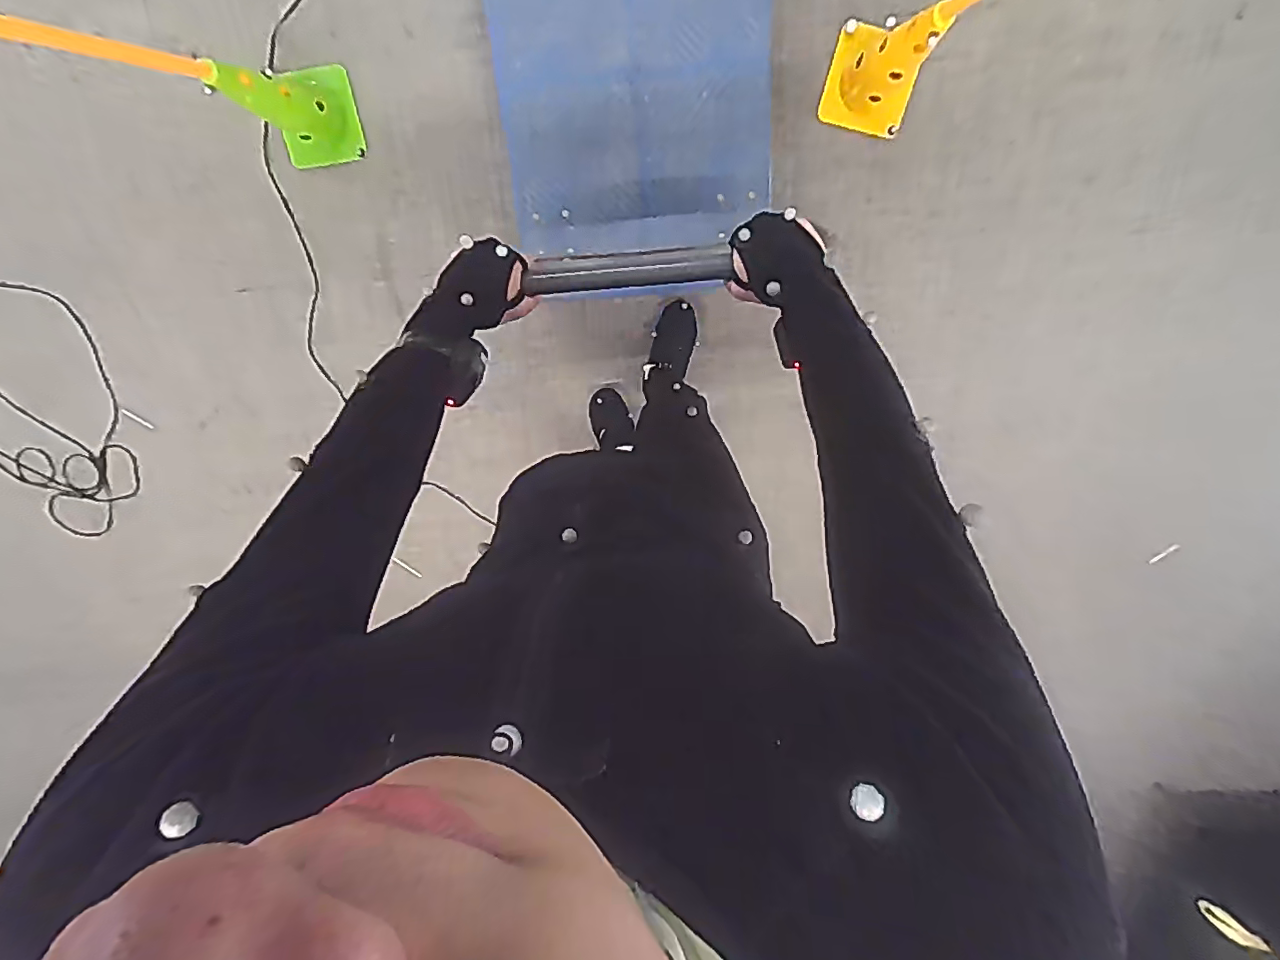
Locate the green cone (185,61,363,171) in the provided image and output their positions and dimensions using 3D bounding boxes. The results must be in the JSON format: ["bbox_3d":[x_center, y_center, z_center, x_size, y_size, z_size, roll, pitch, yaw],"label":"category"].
[{"bbox_3d":[-0.807,-0.822,1.165,0.202,0.368,0.200,-6,110,7],"label":"green cone"}]
